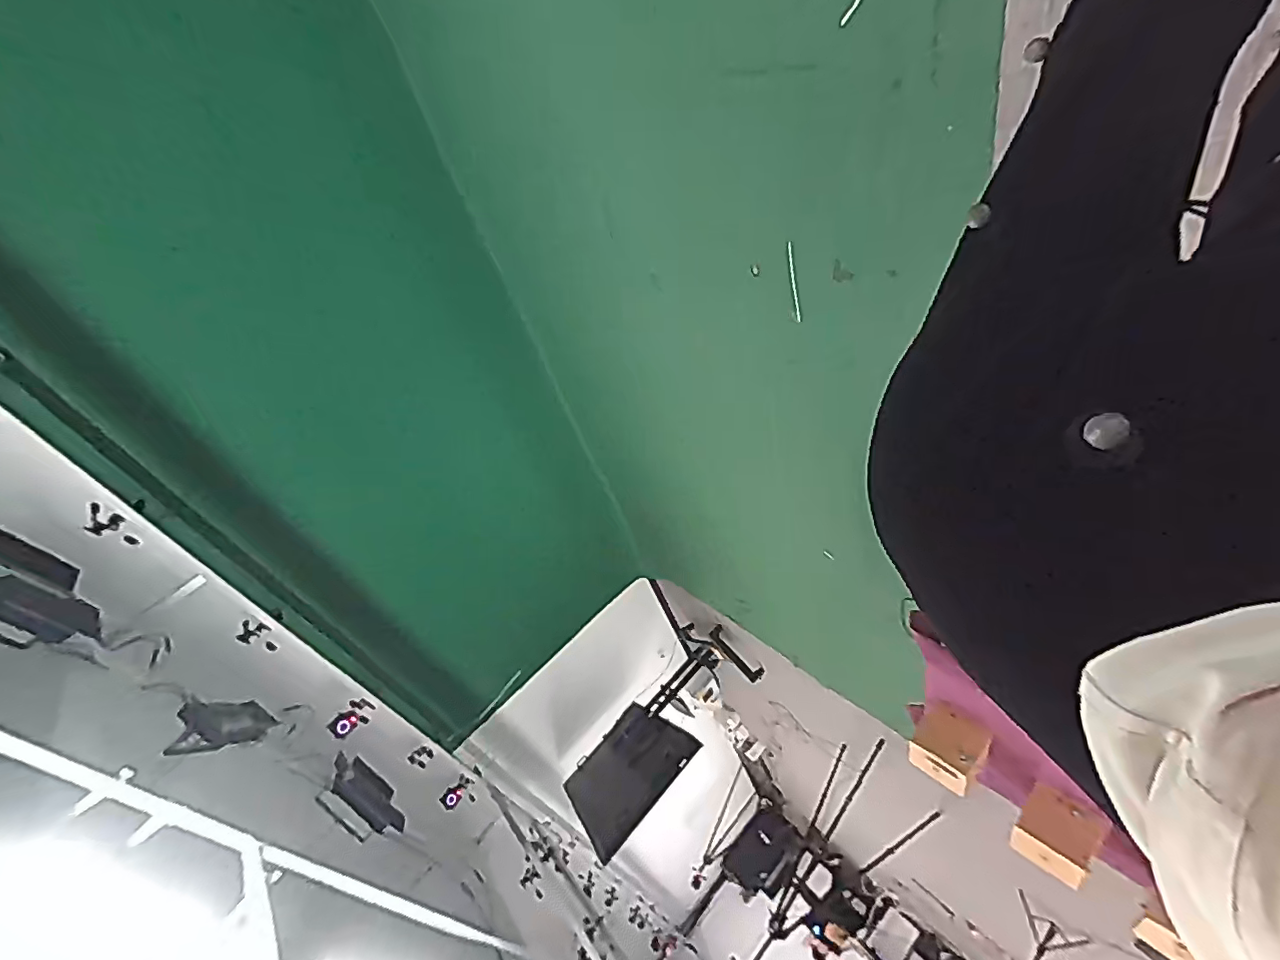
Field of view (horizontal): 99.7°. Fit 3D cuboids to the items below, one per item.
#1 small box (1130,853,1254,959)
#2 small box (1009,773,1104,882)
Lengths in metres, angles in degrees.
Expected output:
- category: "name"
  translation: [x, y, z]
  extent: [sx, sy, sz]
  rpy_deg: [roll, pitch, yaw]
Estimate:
- category: "small box"
  translation: [1.367, 1.075, 1.341]
  extent: [0.168, 0.176, 0.179]
  rpy_deg: [25, 149, 46]
- category: "small box"
  translation: [1.186, 0.987, 1.542]
  extent: [0.168, 0.176, 0.179]
  rpy_deg: [23, 146, 46]
